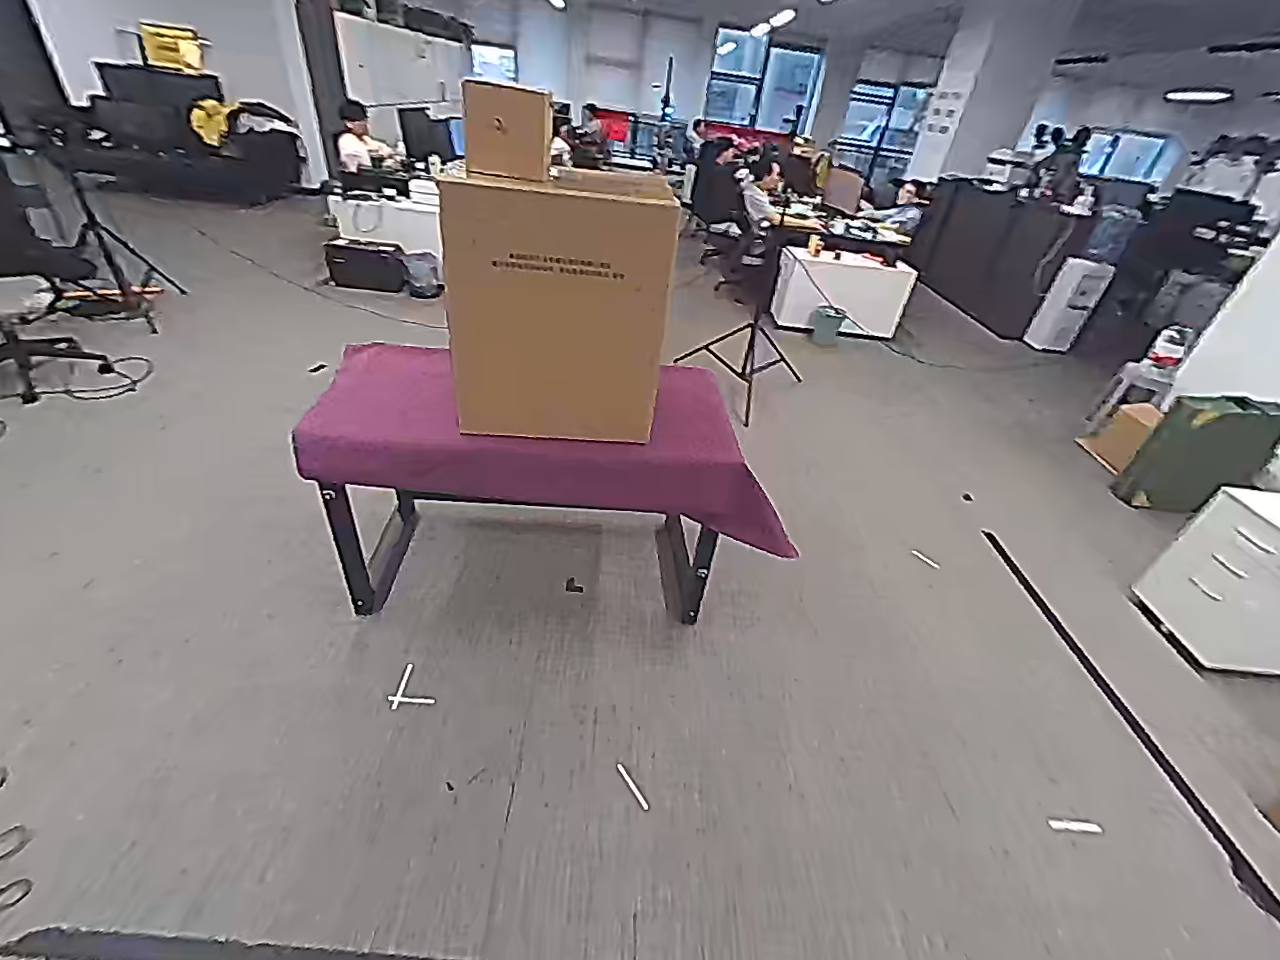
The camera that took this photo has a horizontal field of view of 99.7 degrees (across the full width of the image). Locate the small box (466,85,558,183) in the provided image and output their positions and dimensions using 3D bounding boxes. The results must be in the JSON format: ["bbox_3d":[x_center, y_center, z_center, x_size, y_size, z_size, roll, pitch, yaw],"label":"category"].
[{"bbox_3d":[-0.283,-0.782,1.226,0.179,0.176,0.168,4,37,-6],"label":"small box"}]
